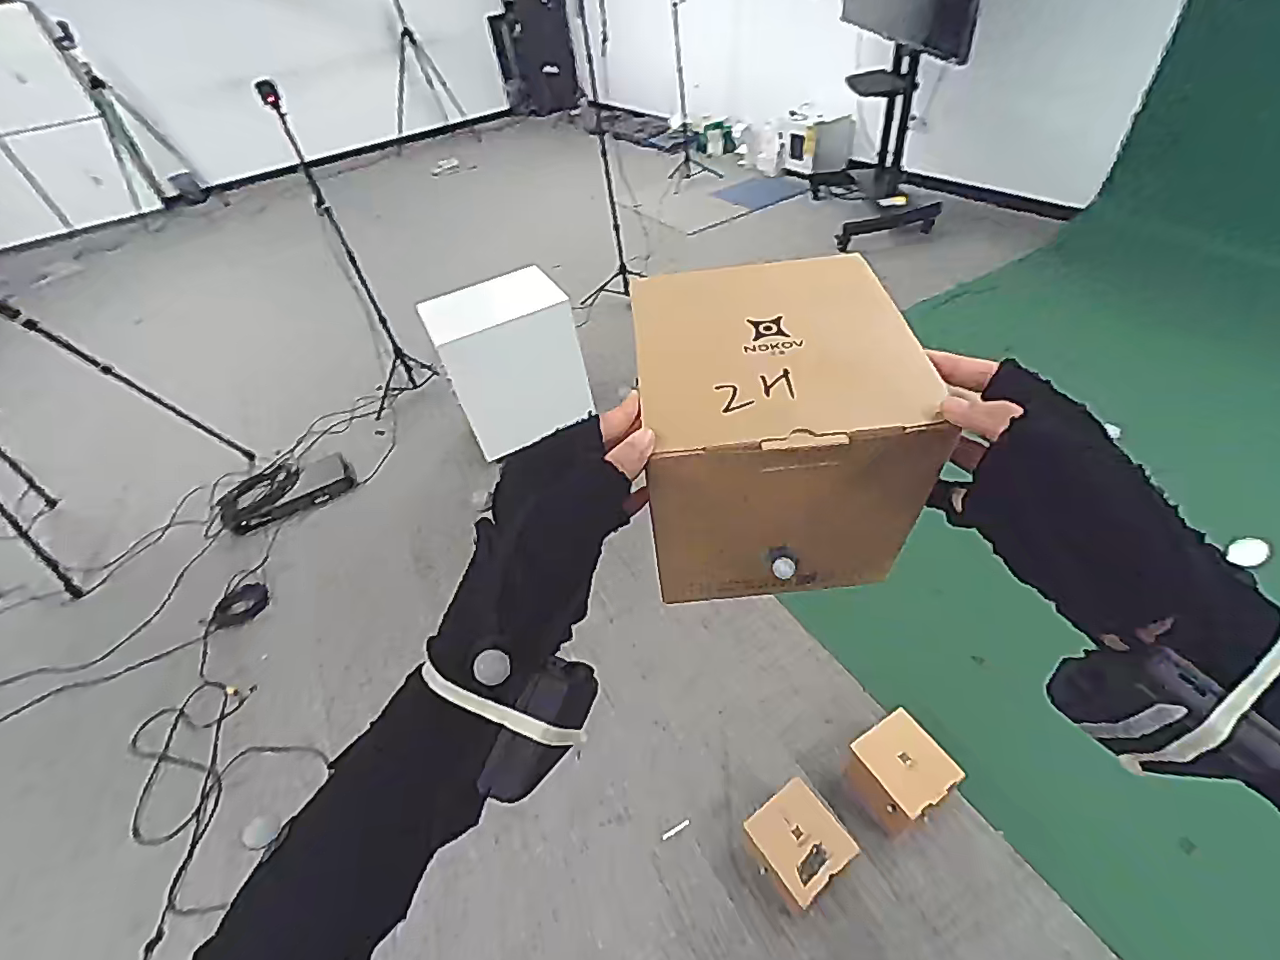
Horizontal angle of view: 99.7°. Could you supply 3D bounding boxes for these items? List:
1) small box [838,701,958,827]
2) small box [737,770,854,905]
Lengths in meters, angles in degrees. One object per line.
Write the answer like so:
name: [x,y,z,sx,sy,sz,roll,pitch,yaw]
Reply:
small box: [0.585,0.660,1.253,0.168,0.176,0.179,-27,47,-16]
small box: [0.329,0.778,1.171,0.168,0.176,0.179,-29,47,-20]
